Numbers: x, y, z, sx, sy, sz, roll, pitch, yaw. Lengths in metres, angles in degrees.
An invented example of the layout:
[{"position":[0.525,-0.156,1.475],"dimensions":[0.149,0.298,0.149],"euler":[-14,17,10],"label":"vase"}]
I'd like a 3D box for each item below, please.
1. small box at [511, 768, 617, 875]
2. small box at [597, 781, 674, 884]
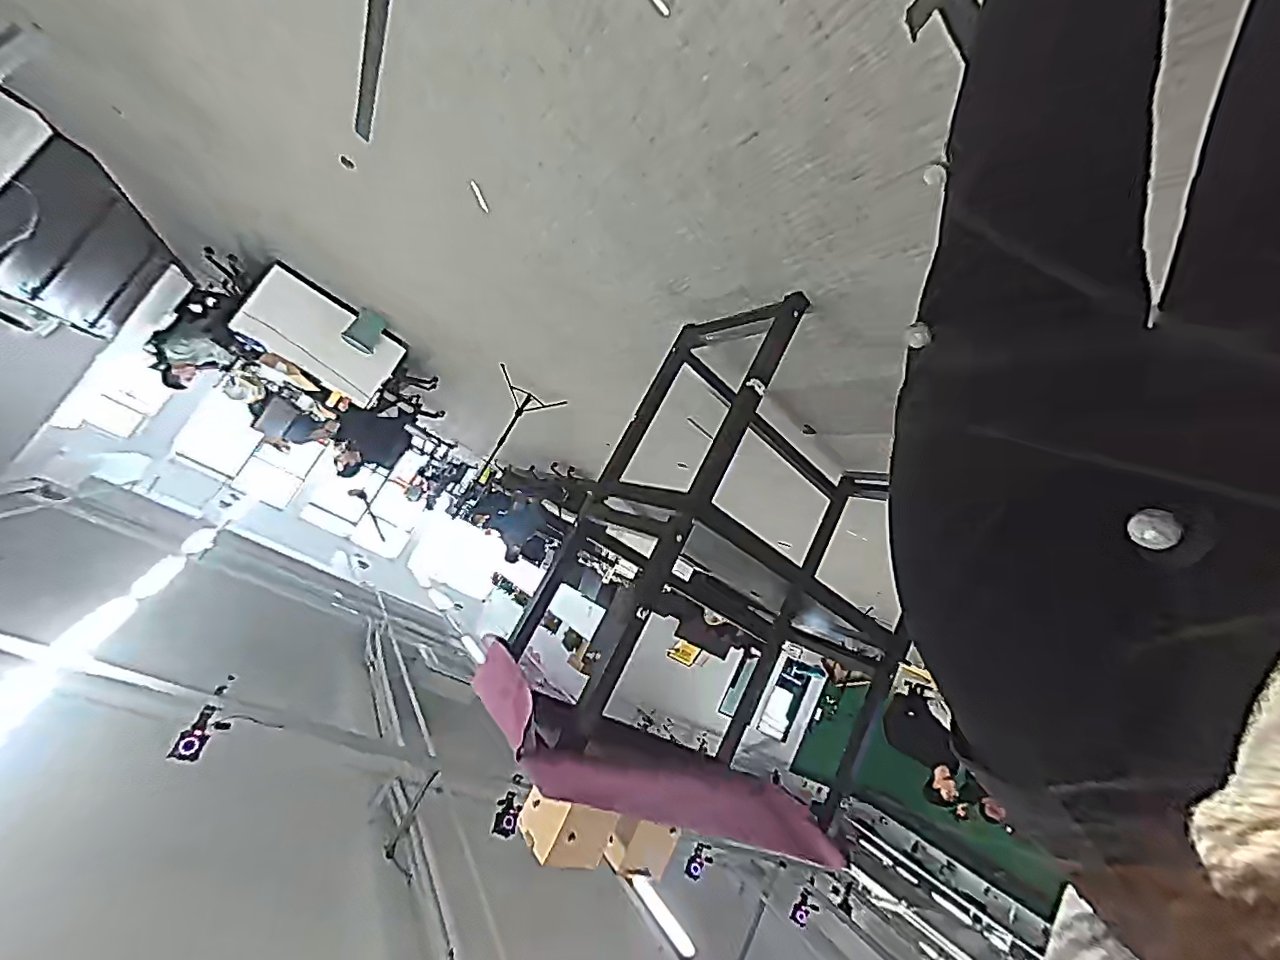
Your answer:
[{"position":[-0.193,0.872,1.391],"dimensions":[0.179,0.176,0.168],"euler":[35,167,-34],"label":"small box"},{"position":[-0.026,0.994,1.533],"dimensions":[0.168,0.176,0.179],"euler":[35,167,-30],"label":"small box"}]
